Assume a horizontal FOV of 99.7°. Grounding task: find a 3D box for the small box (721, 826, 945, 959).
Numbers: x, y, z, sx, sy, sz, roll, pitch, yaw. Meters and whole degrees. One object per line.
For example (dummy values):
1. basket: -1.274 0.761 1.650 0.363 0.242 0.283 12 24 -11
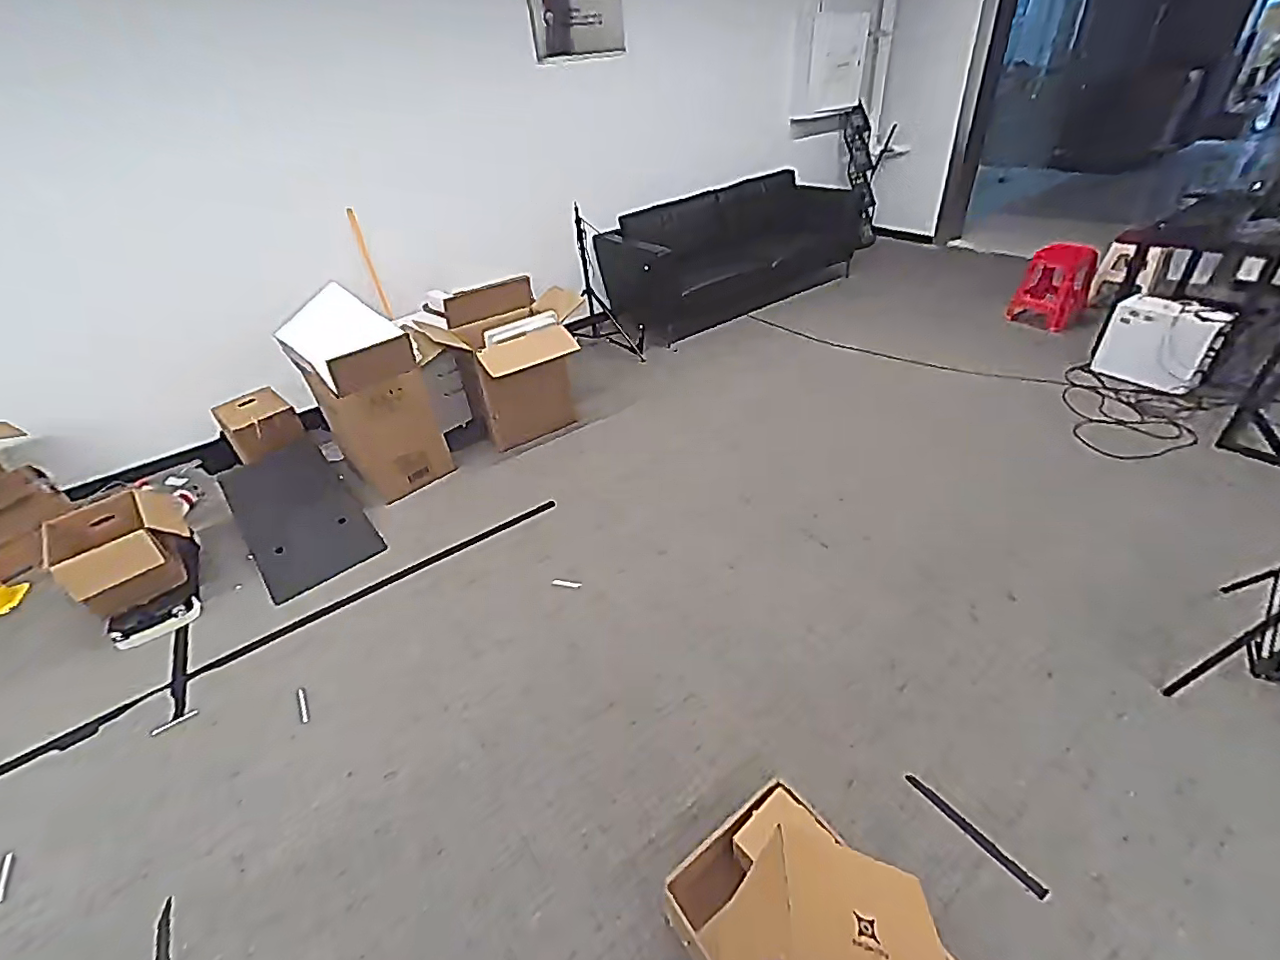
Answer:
1. small box: 0.185 0.503 0.534 0.168 0.176 0.179 22 18 1
